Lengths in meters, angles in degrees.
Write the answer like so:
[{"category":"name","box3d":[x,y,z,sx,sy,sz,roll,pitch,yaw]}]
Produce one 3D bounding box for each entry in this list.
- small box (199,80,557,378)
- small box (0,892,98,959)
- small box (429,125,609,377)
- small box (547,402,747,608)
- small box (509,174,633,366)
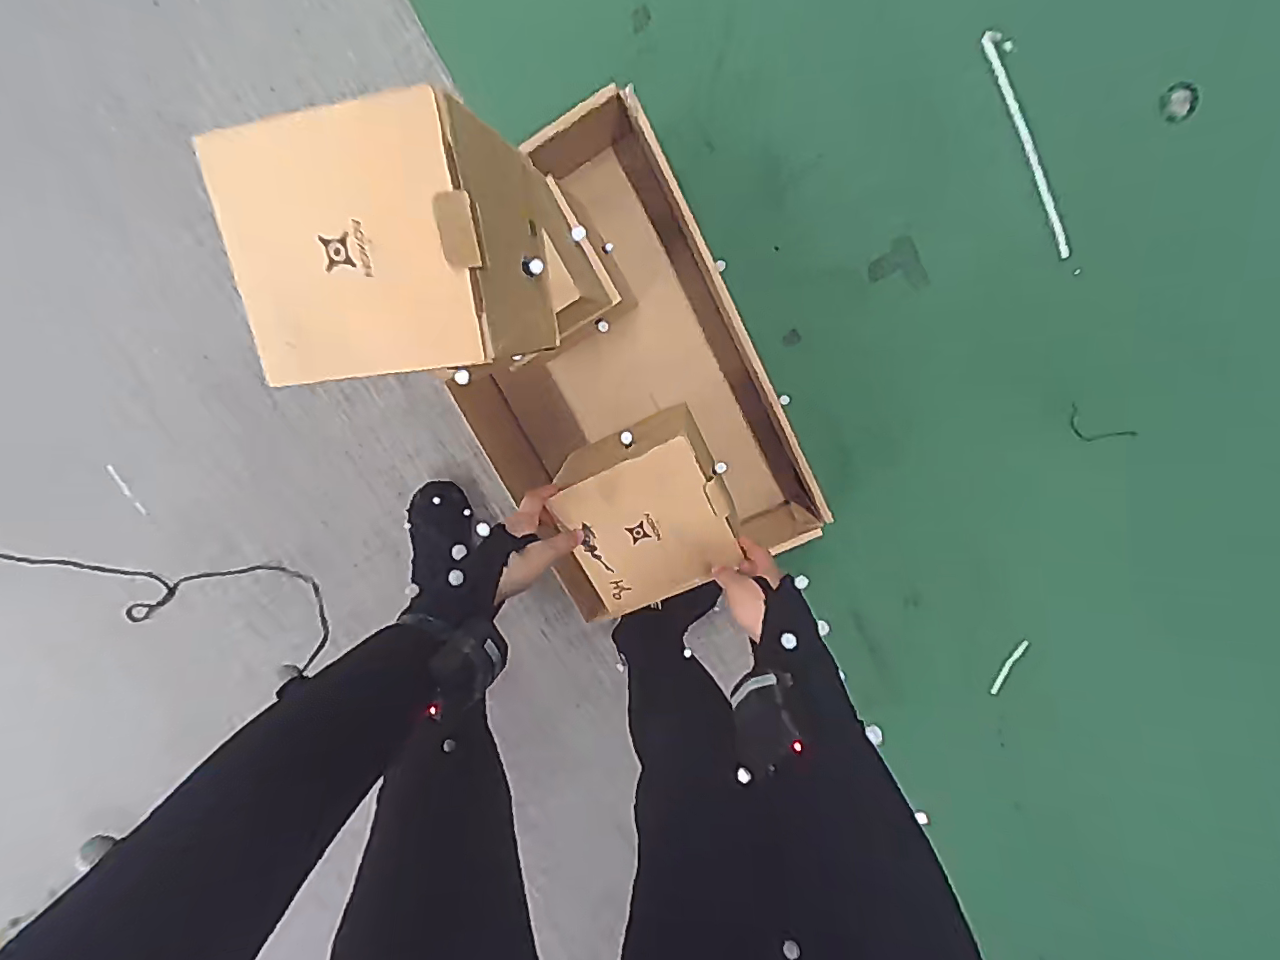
[{"category":"small box","box3d":[-0.182,-0.177,0.432,0.179,0.176,0.168,-5,106,9]},{"category":"small box","box3d":[-1.381,1.069,1.196,0.168,0.176,0.179,-29,99,14]},{"category":"small box","box3d":[-0.155,-0.229,0.584,0.179,0.176,0.168,-26,102,14]},{"category":"small box","box3d":[0.012,0.022,0.671,0.179,0.176,0.168,-24,107,12]},{"category":"small box","box3d":[-0.121,-0.275,0.738,0.179,0.176,0.168,-28,101,14]}]
